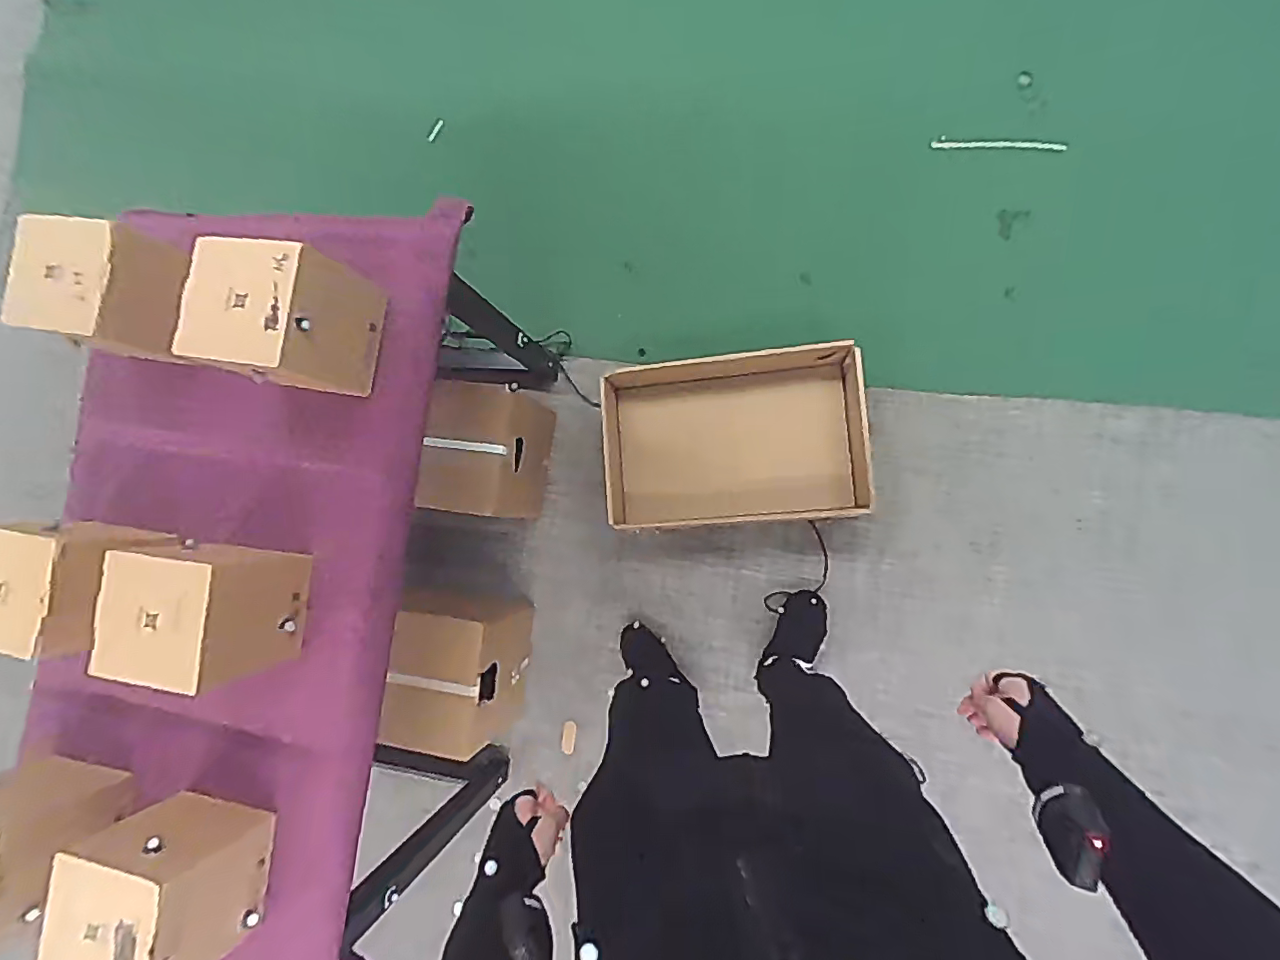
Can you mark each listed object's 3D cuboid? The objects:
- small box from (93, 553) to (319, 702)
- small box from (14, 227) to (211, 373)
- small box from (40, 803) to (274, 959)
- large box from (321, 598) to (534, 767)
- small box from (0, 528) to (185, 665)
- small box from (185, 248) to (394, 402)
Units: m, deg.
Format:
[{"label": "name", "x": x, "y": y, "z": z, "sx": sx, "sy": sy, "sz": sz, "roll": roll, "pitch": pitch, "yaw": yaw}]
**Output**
[{"label": "small box", "x": -0.606, "y": 0.196, "z": 0.773, "sx": 0.179, "sy": 0.176, "sz": 0.168, "roll": 5, "pitch": 86, "yaw": 12}, {"label": "small box", "x": -0.803, "y": -0.275, "z": 0.855, "sx": 0.179, "sy": 0.176, "sz": 0.168, "roll": 9, "pitch": 88, "yaw": 11}, {"label": "small box", "x": -0.647, "y": 0.576, "z": 0.740, "sx": 0.179, "sy": 0.176, "sz": 0.168, "roll": 5, "pitch": 85, "yaw": 13}, {"label": "large box", "x": -0.526, "y": 0.495, "z": 1.403, "sx": 0.408, "sy": 0.320, "sz": 0.320, "roll": 4, "pitch": 84, "yaw": 13}, {"label": "small box", "x": -0.860, "y": 0.168, "z": 0.827, "sx": 0.179, "sy": 0.176, "sz": 0.168, "roll": 7, "pitch": 85, "yaw": 11}, {"label": "small box", "x": -0.501, "y": -0.217, "z": 0.790, "sx": 0.179, "sy": 0.176, "sz": 0.168, "roll": 9, "pitch": 88, "yaw": 14}]
